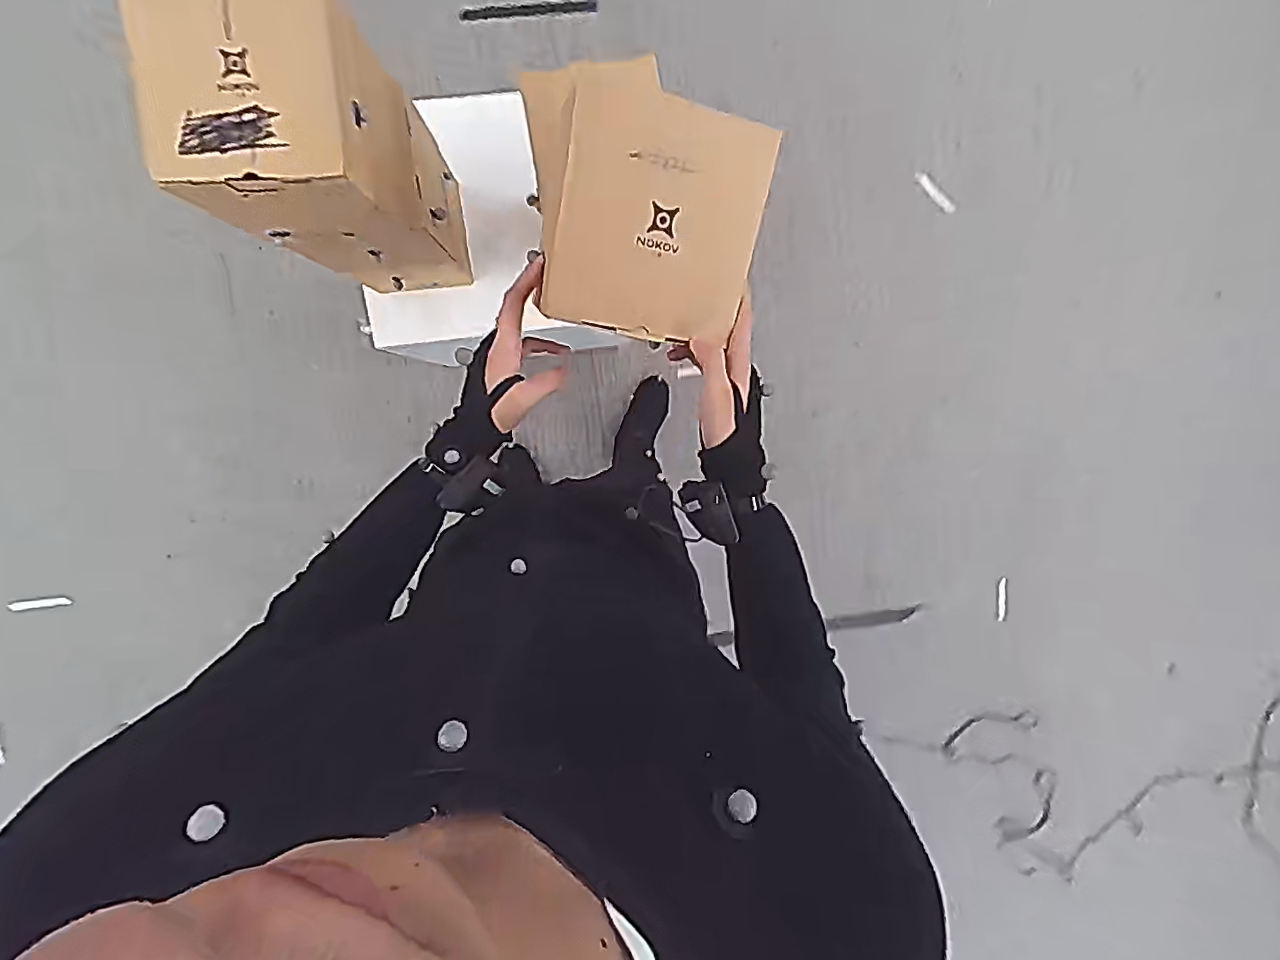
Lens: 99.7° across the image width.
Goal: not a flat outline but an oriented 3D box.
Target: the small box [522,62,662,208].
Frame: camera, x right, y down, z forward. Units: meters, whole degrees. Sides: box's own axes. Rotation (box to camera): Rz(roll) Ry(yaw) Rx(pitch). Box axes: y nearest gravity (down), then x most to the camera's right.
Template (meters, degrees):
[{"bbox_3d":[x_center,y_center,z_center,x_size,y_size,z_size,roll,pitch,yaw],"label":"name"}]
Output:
[{"bbox_3d":[-0.053,-0.411,0.728,0.168,0.176,0.179,-9,99,-4],"label":"small box"}]

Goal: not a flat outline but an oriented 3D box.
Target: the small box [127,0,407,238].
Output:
[{"bbox_3d":[-0.348,-0.354,0.542,0.168,0.176,0.179,-4,97,-5],"label":"small box"}]

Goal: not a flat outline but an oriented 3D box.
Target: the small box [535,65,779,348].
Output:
[{"bbox_3d":[-0.002,-0.233,0.501,0.168,0.176,0.179,5,110,-18],"label":"small box"}]

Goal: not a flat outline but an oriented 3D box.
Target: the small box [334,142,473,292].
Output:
[{"bbox_3d":[-0.374,-0.407,0.866,0.168,0.176,0.179,-7,98,-5],"label":"small box"}]
